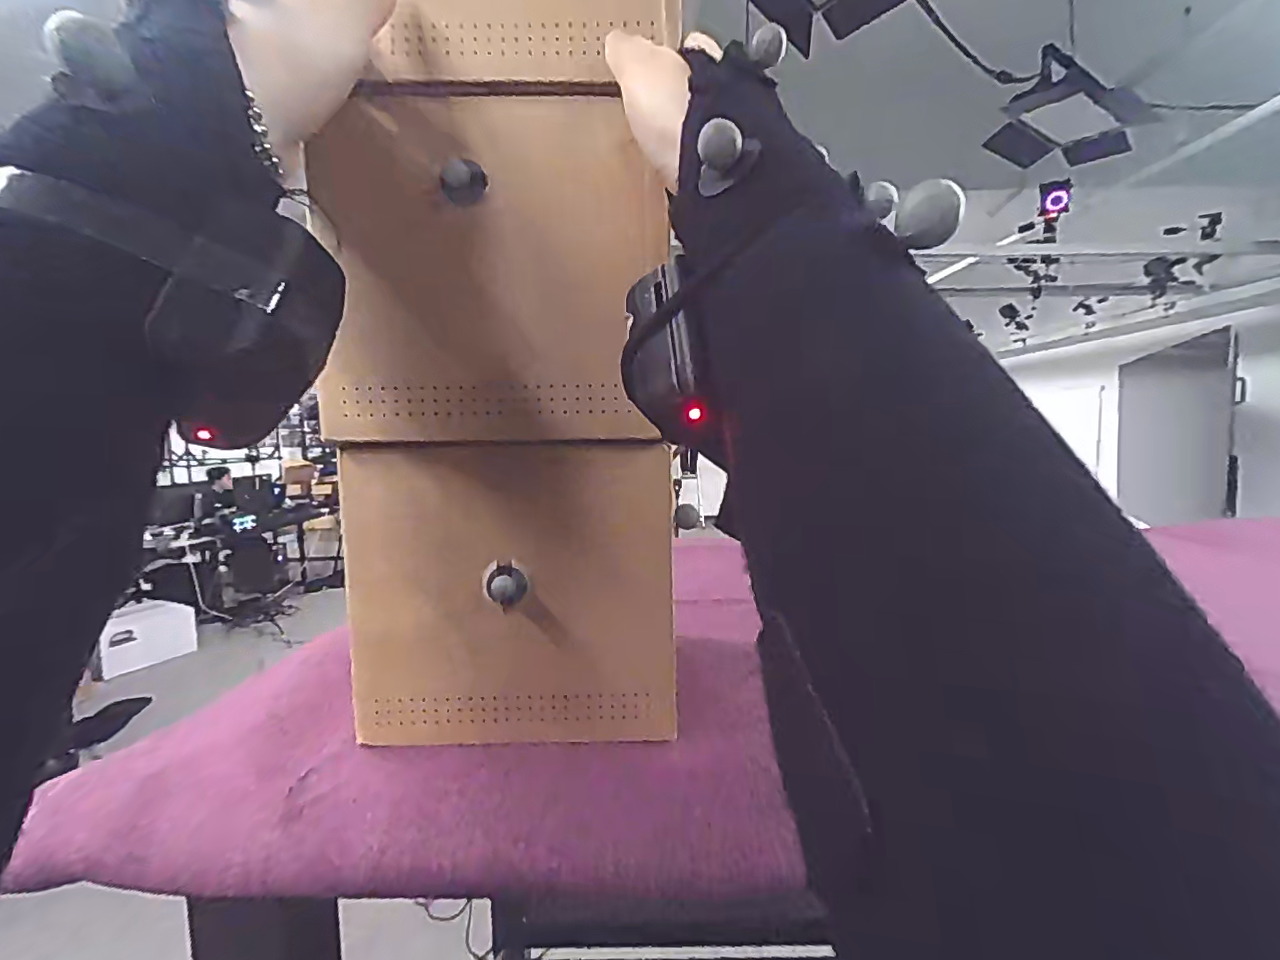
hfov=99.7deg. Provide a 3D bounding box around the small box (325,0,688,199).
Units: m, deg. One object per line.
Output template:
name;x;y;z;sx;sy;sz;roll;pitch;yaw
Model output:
small box;-0.068;-0.271;0.325;0.179;0.176;0.168;-2;6;-2

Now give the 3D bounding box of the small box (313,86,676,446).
small box;-0.070;-0.108;0.342;0.179;0.176;0.168;0;6;-1
